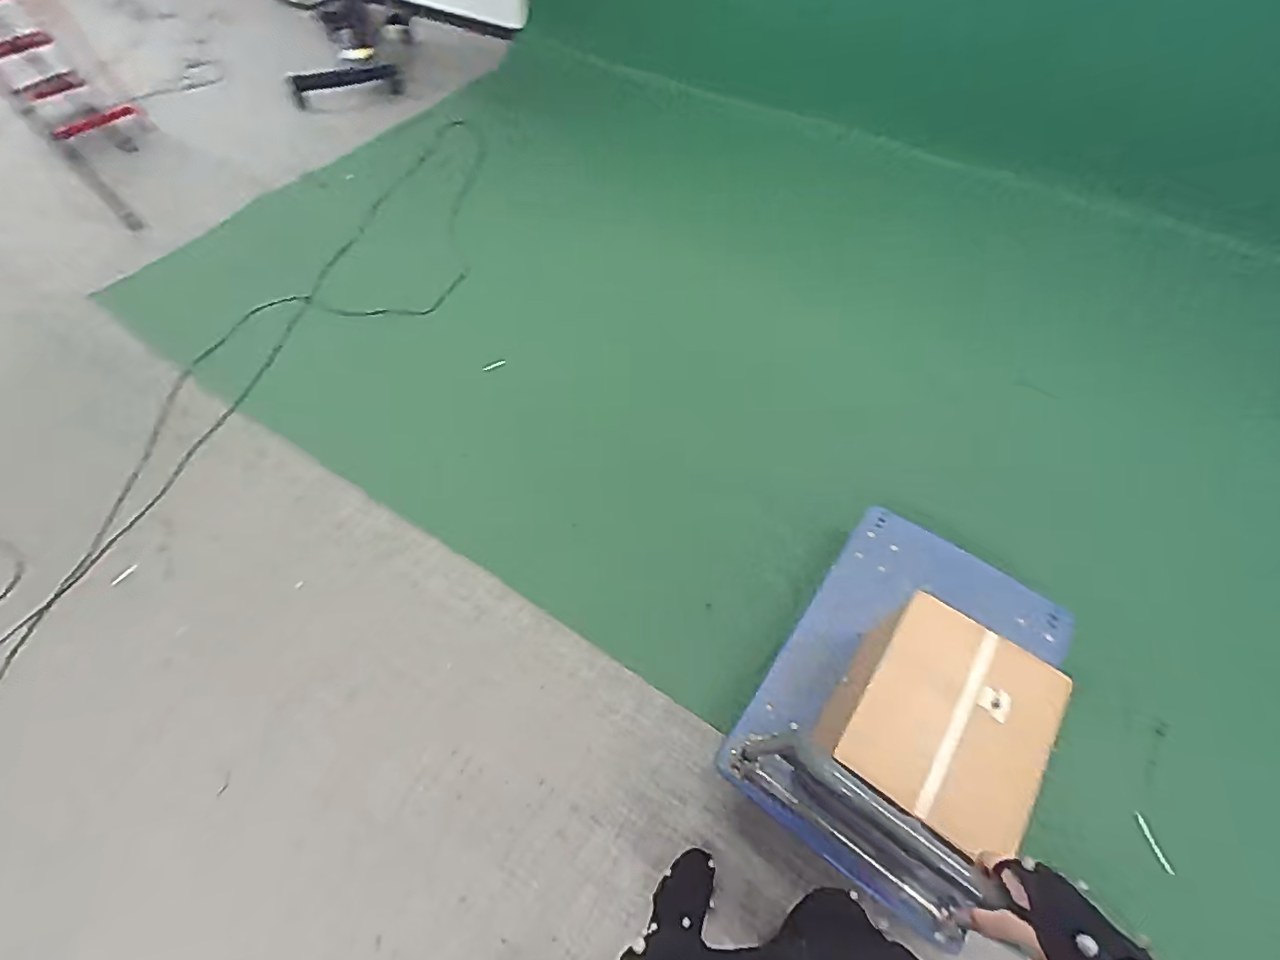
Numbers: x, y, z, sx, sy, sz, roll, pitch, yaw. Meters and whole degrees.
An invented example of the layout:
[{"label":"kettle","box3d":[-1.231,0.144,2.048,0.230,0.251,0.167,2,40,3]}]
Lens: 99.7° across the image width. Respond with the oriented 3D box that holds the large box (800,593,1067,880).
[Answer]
[{"label":"large box","box3d":[0.593,0.528,1.139,0.320,0.320,0.408,33,63,18]}]
